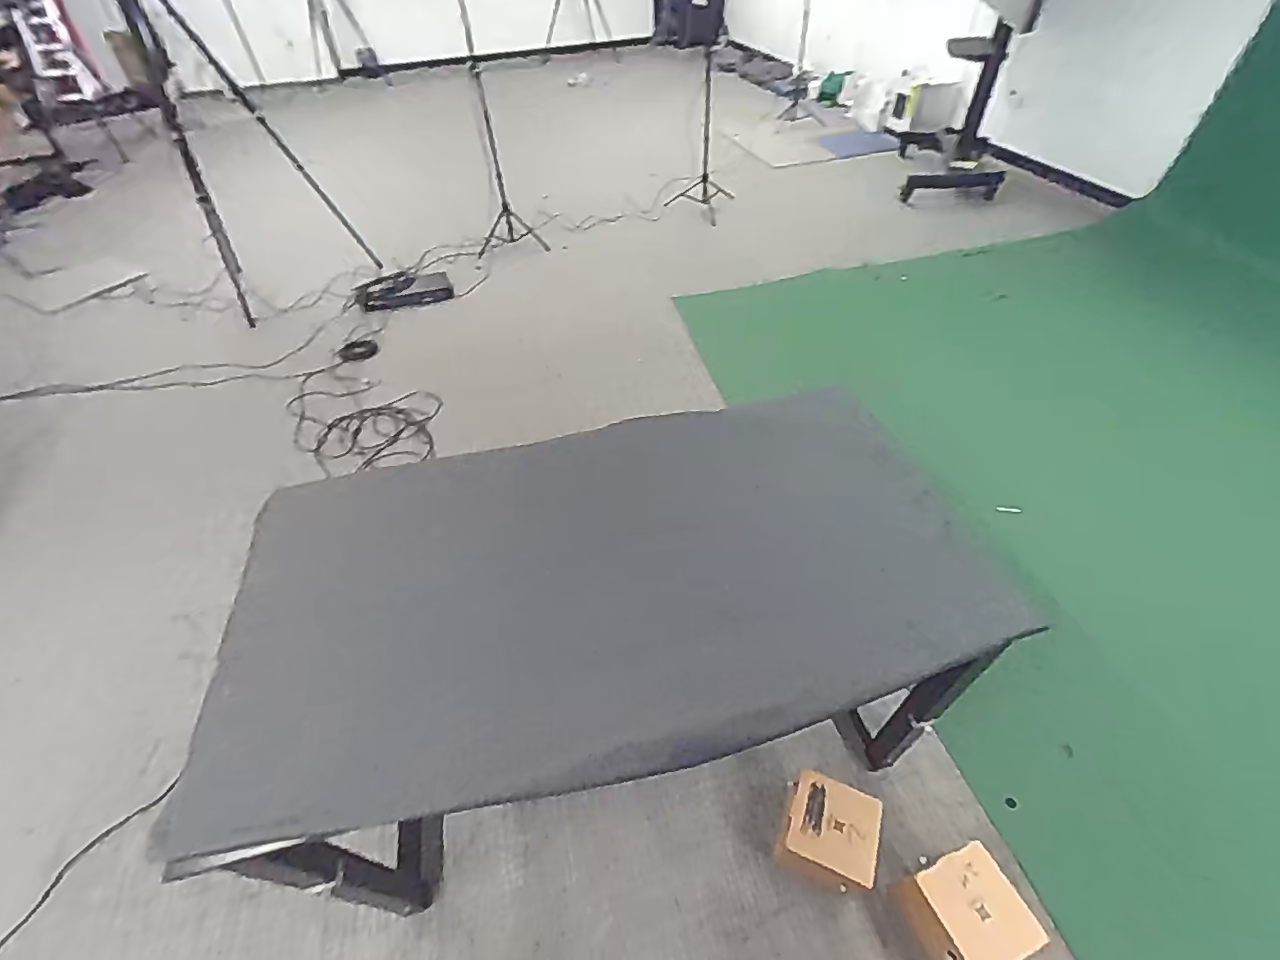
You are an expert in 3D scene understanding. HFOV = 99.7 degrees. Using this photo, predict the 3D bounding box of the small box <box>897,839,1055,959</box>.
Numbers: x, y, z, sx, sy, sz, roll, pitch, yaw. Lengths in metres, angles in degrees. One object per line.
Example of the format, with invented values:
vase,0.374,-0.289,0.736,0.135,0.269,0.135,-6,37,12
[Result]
small box,0.651,0.854,1.072,0.168,0.176,0.179,-18,49,-13
